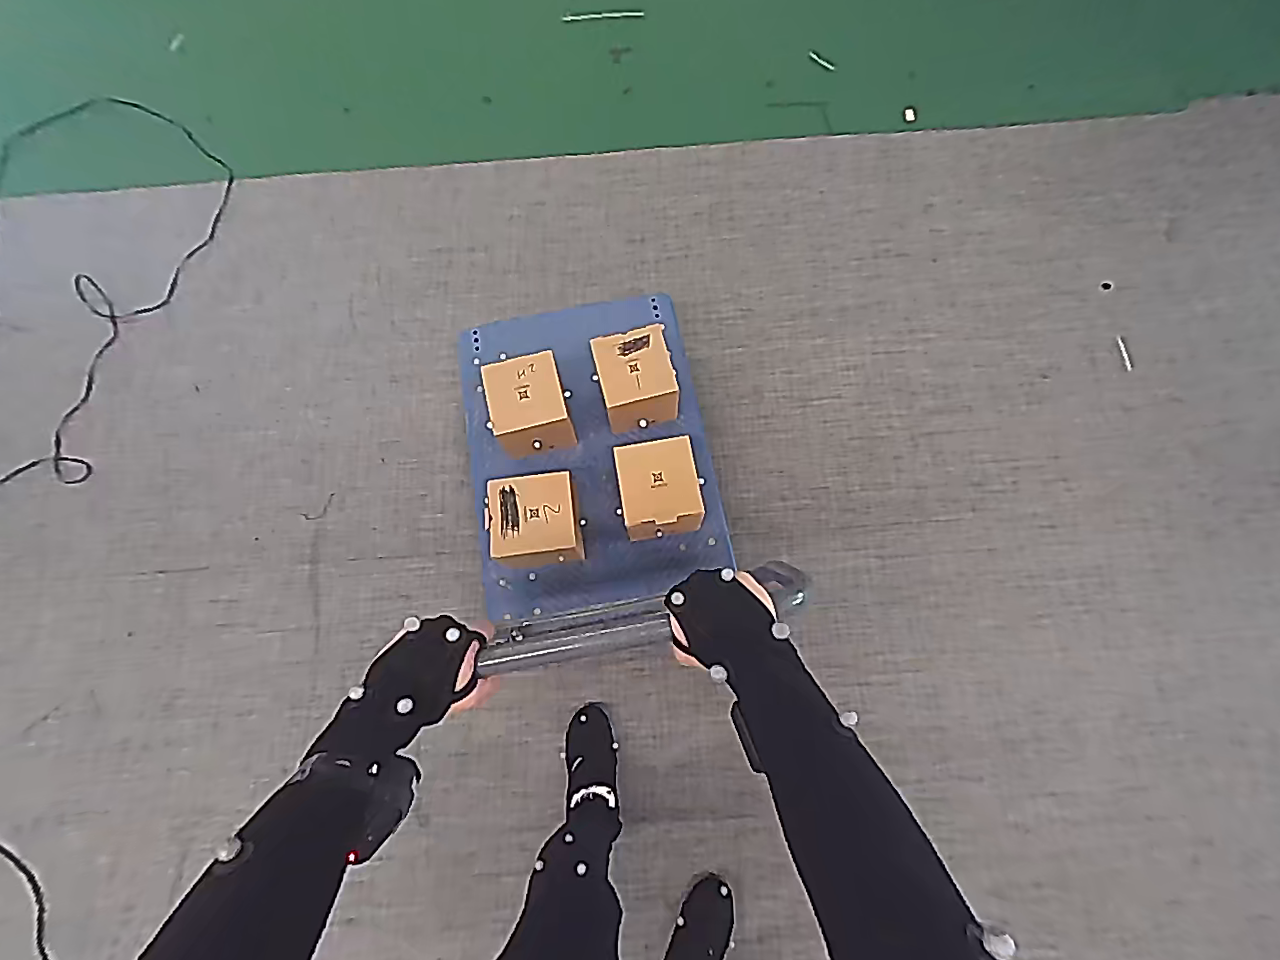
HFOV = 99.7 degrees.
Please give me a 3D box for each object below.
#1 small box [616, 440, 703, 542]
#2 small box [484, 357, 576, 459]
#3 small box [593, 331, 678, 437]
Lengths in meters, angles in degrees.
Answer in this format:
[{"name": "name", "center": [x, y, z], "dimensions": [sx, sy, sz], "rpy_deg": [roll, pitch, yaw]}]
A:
[{"name": "small box", "center": [0.040, 0.030, 1.224], "dimensions": [0.168, 0.176, 0.179], "rpy_deg": [-10, 74, -2]}, {"name": "small box", "center": [-0.255, -0.161, 1.288], "dimensions": [0.168, 0.176, 0.179], "rpy_deg": [-14, 73, -4]}, {"name": "small box", "center": [-0.011, -0.225, 1.301], "dimensions": [0.168, 0.176, 0.179], "rpy_deg": [-14, 74, -2]}]
